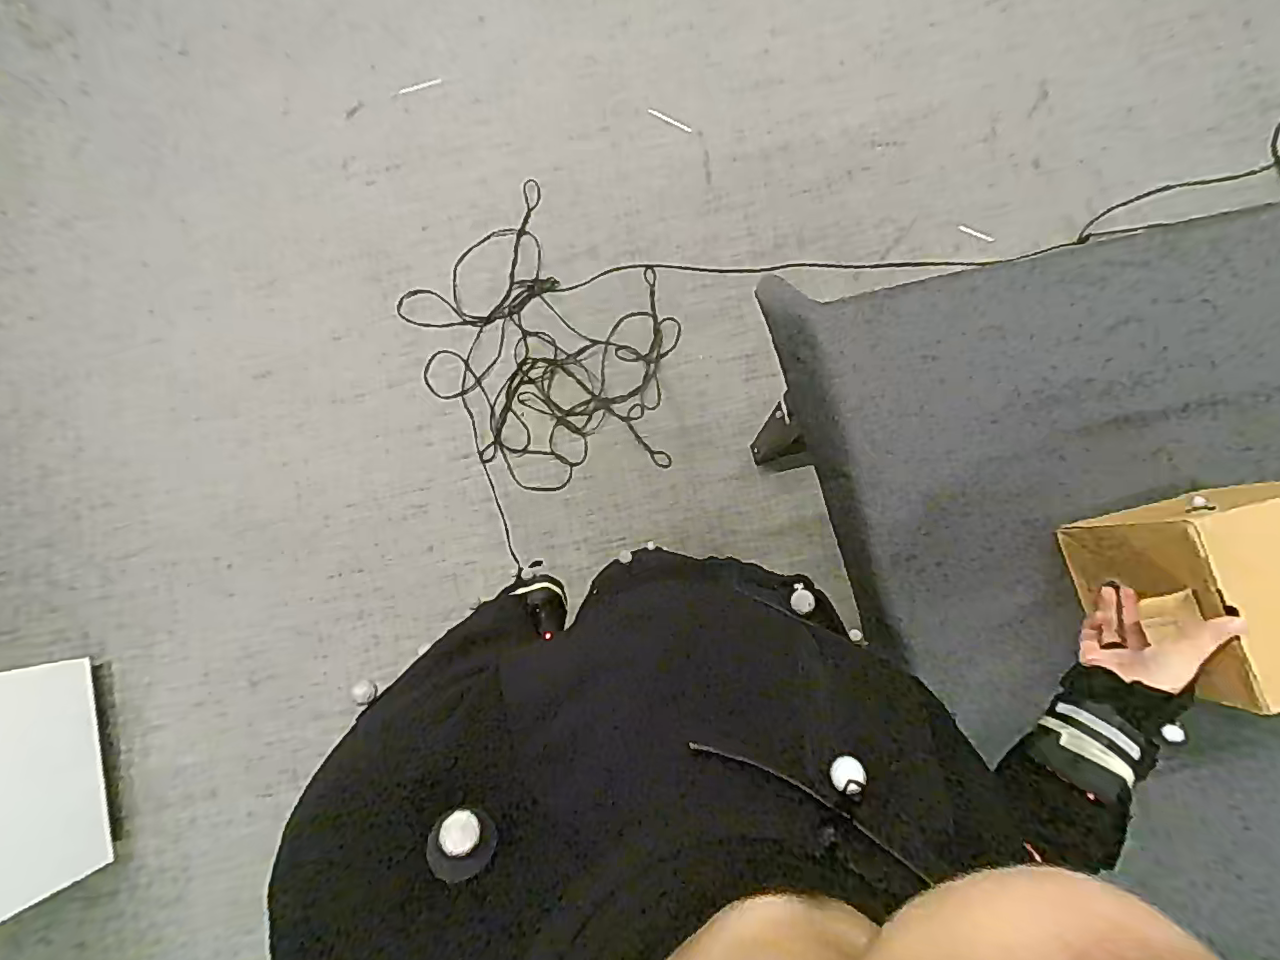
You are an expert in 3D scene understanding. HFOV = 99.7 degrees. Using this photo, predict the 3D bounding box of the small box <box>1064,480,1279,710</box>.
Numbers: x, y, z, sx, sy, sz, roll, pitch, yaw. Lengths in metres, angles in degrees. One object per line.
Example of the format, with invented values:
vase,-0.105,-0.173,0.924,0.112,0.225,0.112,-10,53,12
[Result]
small box,0.578,0.097,0.526,0.179,0.176,0.168,-16,82,2
